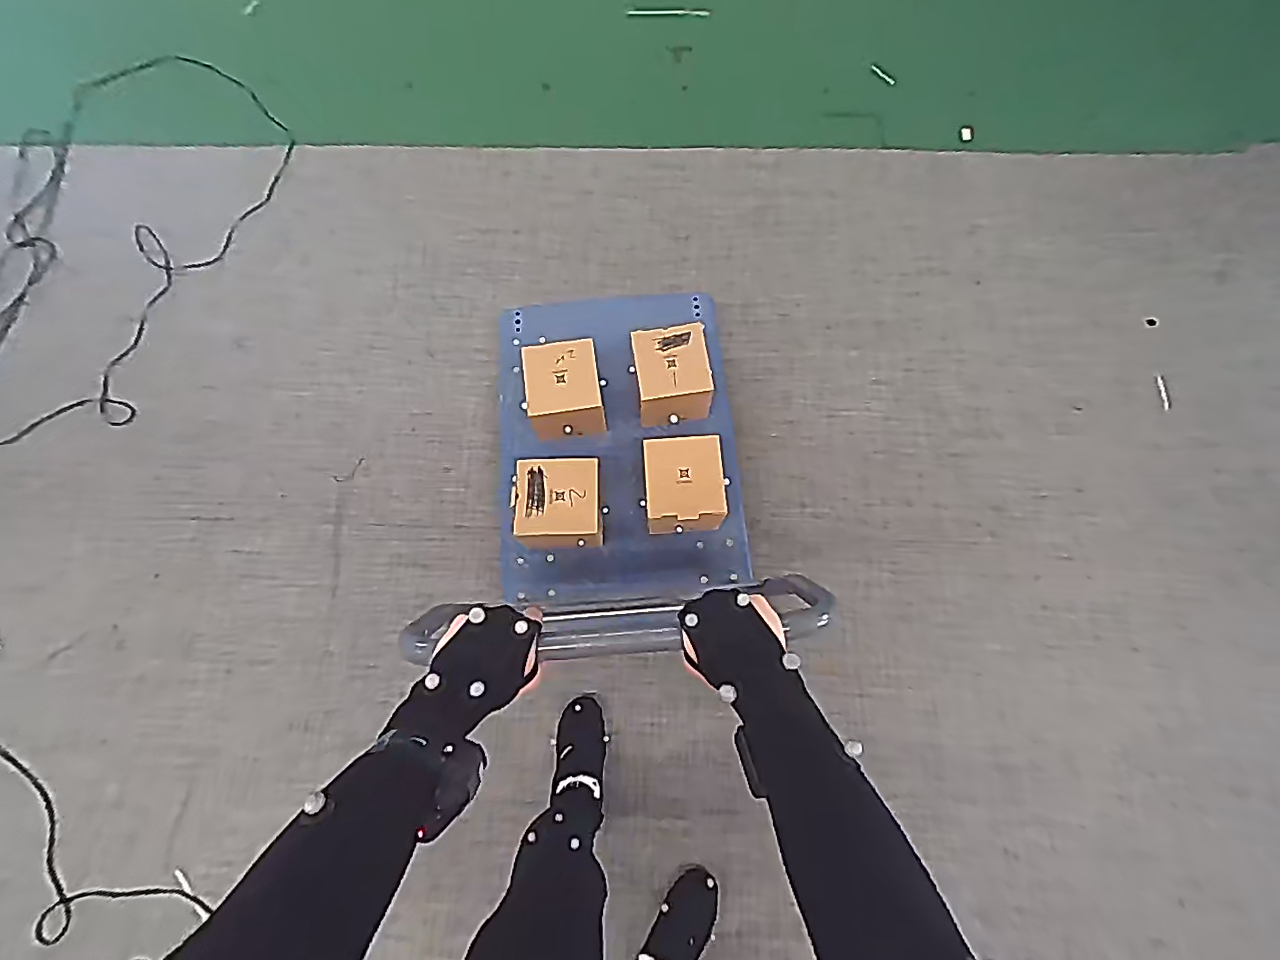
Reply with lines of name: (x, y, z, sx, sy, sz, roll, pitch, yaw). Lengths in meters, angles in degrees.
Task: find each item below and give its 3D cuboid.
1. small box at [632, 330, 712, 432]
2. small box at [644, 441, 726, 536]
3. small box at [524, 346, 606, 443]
small box: (0.072, -0.235, 1.314, 0.168, 0.176, 0.179, -8, 74, -1)
small box: (0.095, 0.023, 1.237, 0.168, 0.176, 0.179, -4, 73, 0)
small box: (-0.177, -0.197, 1.308, 0.168, 0.176, 0.179, -8, 73, -2)
